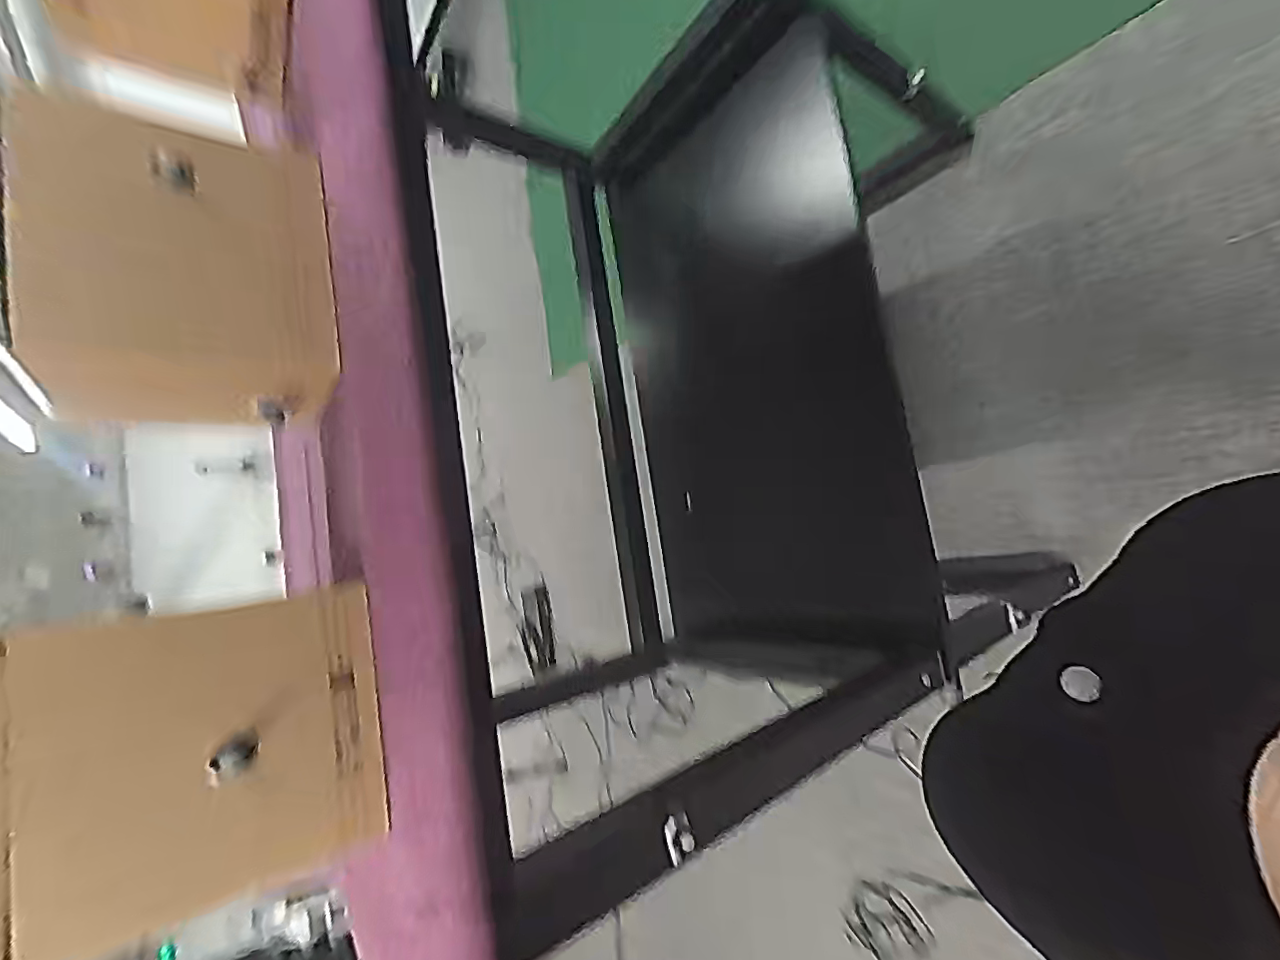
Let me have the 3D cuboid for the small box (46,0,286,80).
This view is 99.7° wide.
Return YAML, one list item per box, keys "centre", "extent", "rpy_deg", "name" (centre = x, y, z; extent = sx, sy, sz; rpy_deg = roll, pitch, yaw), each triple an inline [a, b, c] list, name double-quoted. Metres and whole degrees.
- centre: [-0.413, -0.492, 0.466]
  extent: [0.168, 0.176, 0.179]
  rpy_deg: [-15, 82, 53]
  name: "small box"

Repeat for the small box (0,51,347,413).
- centre: [-0.339, -0.155, 0.413]
  extent: [0.168, 0.176, 0.179]
  rpy_deg: [-19, 80, 51]
  name: "small box"
